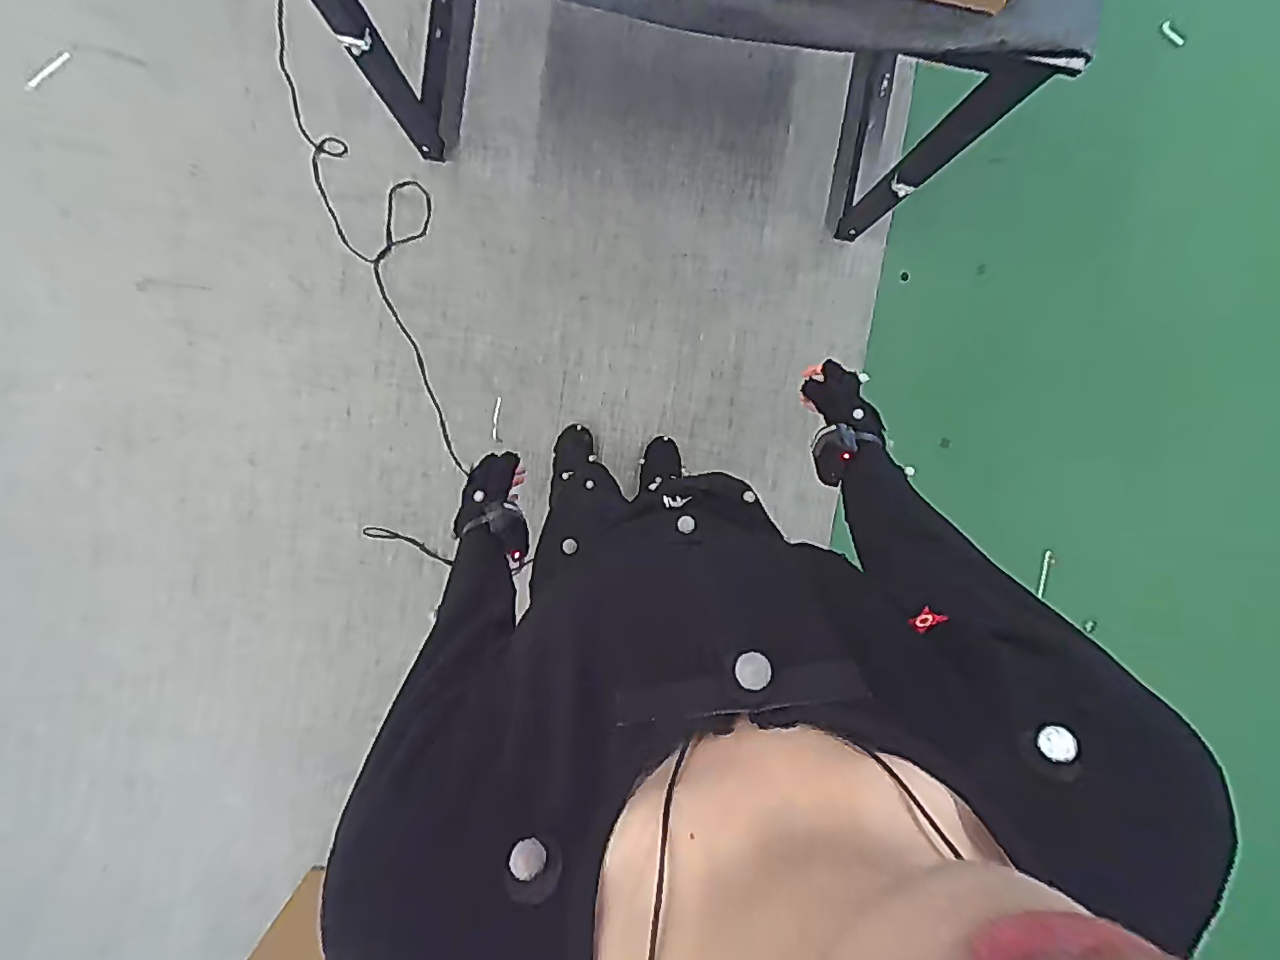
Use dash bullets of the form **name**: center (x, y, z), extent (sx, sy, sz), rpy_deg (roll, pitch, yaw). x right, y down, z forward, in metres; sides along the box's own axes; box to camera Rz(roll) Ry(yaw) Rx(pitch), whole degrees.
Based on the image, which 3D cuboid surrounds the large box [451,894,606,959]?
- **large box**: center (-0.314, 1.394, 1.459), extent (0.408, 0.320, 0.320), rpy_deg (9, 94, -6)
